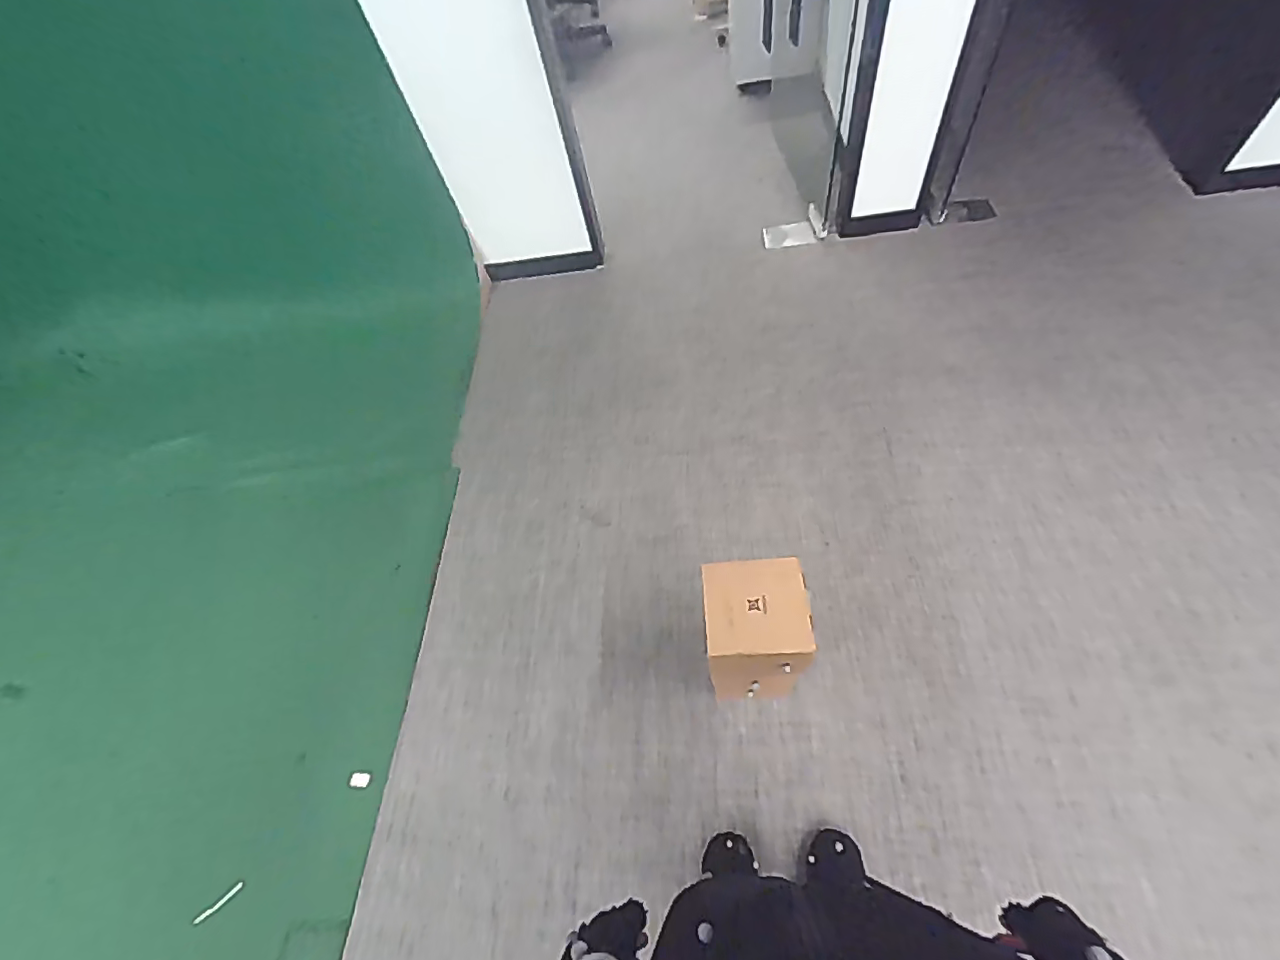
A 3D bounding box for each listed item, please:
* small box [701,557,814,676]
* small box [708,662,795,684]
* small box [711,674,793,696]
[{"bbox_3d":[0.207,0.253,0.985,0.179,0.176,0.168,-6,57,9],"label":"small box"},{"bbox_3d":[0.227,0.325,1.130,0.179,0.176,0.168,-5,58,7],"label":"small box"},{"bbox_3d":[0.256,0.405,1.269,0.179,0.176,0.168,-4,58,9],"label":"small box"}]
